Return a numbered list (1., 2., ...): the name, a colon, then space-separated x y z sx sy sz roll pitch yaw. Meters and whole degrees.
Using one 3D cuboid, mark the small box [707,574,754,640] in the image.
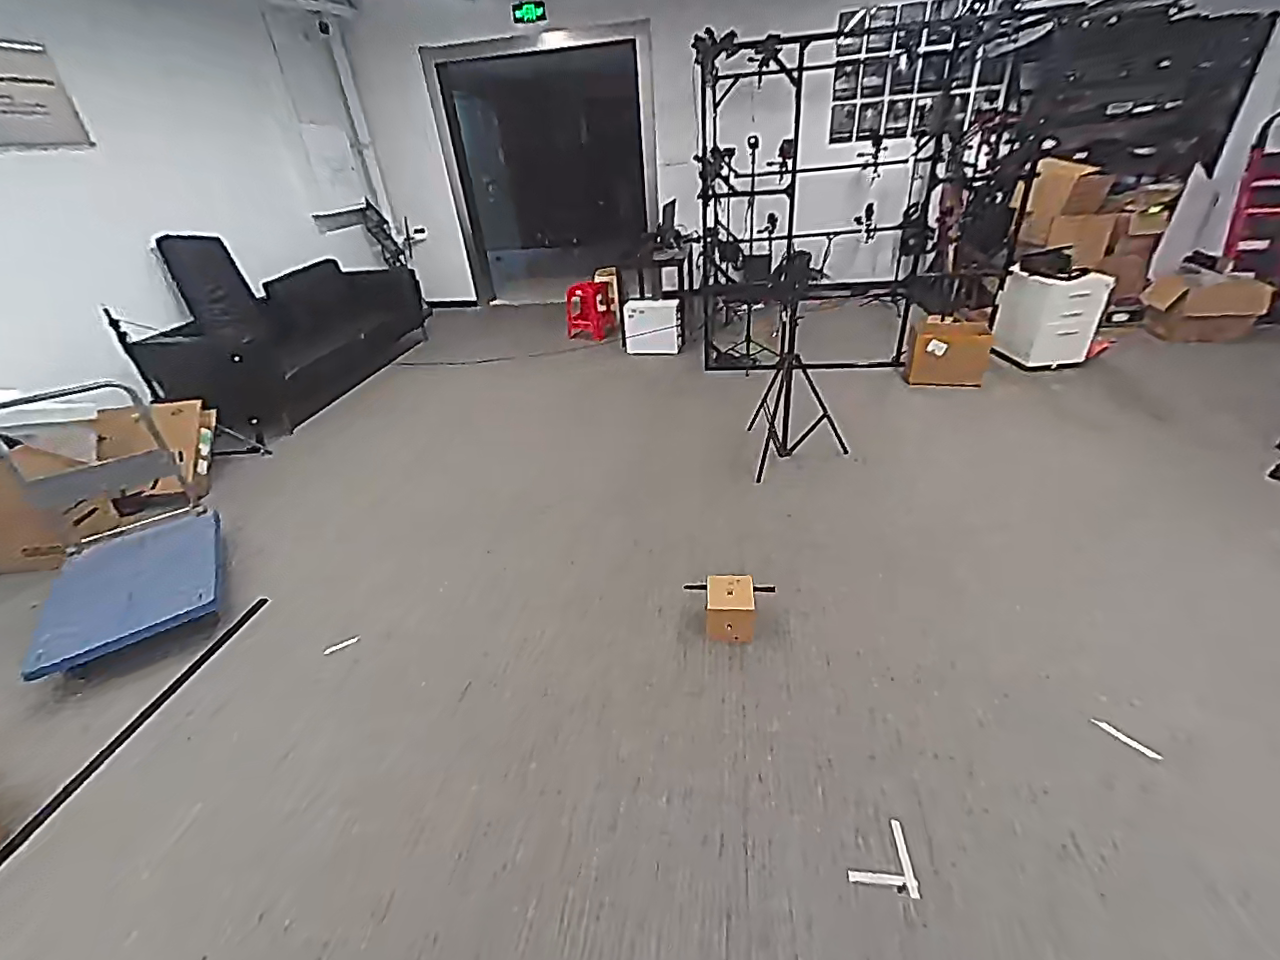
1. small box: 0.332 0.467 1.983 0.168 0.176 0.179 0 32 8
